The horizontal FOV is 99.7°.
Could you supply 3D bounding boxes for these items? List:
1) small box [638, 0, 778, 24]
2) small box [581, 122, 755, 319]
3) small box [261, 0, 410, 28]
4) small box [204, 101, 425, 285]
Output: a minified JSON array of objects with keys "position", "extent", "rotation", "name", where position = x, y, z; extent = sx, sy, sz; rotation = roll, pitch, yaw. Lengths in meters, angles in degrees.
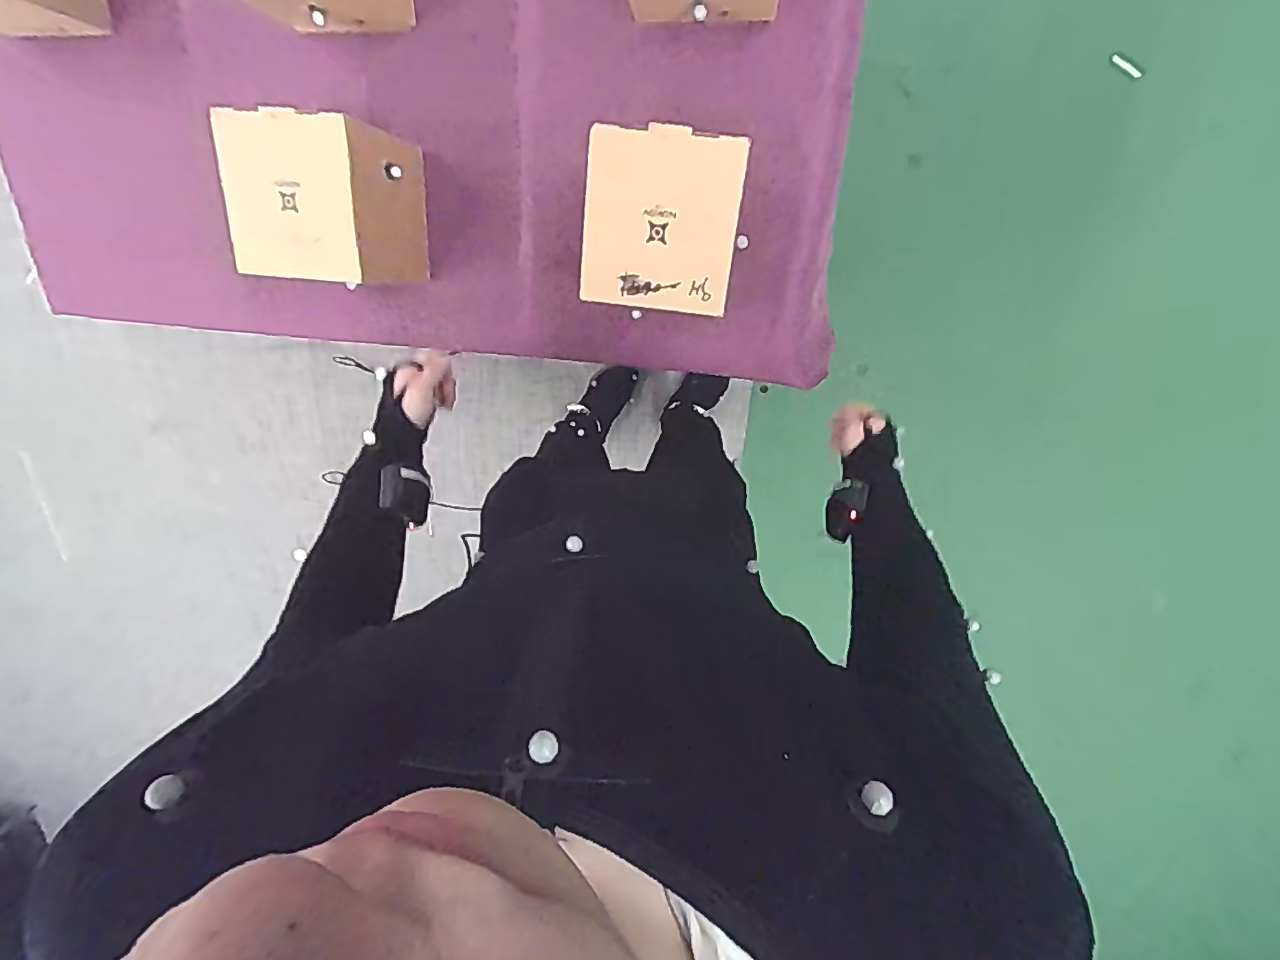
[{"position":[0.068,-0.587,0.525],"extent":[0.168,0.176,0.179],"rotation":[7,113,8],"name":"small box"},{"position":[0.034,-0.296,0.646],"extent":[0.168,0.176,0.179],"rotation":[9,110,5],"name":"small box"},{"position":[-0.369,-0.623,0.574],"extent":[0.168,0.176,0.179],"rotation":[5,113,5],"name":"small box"},{"position":[-0.390,-0.347,0.684],"extent":[0.168,0.176,0.179],"rotation":[7,111,5],"name":"small box"}]
